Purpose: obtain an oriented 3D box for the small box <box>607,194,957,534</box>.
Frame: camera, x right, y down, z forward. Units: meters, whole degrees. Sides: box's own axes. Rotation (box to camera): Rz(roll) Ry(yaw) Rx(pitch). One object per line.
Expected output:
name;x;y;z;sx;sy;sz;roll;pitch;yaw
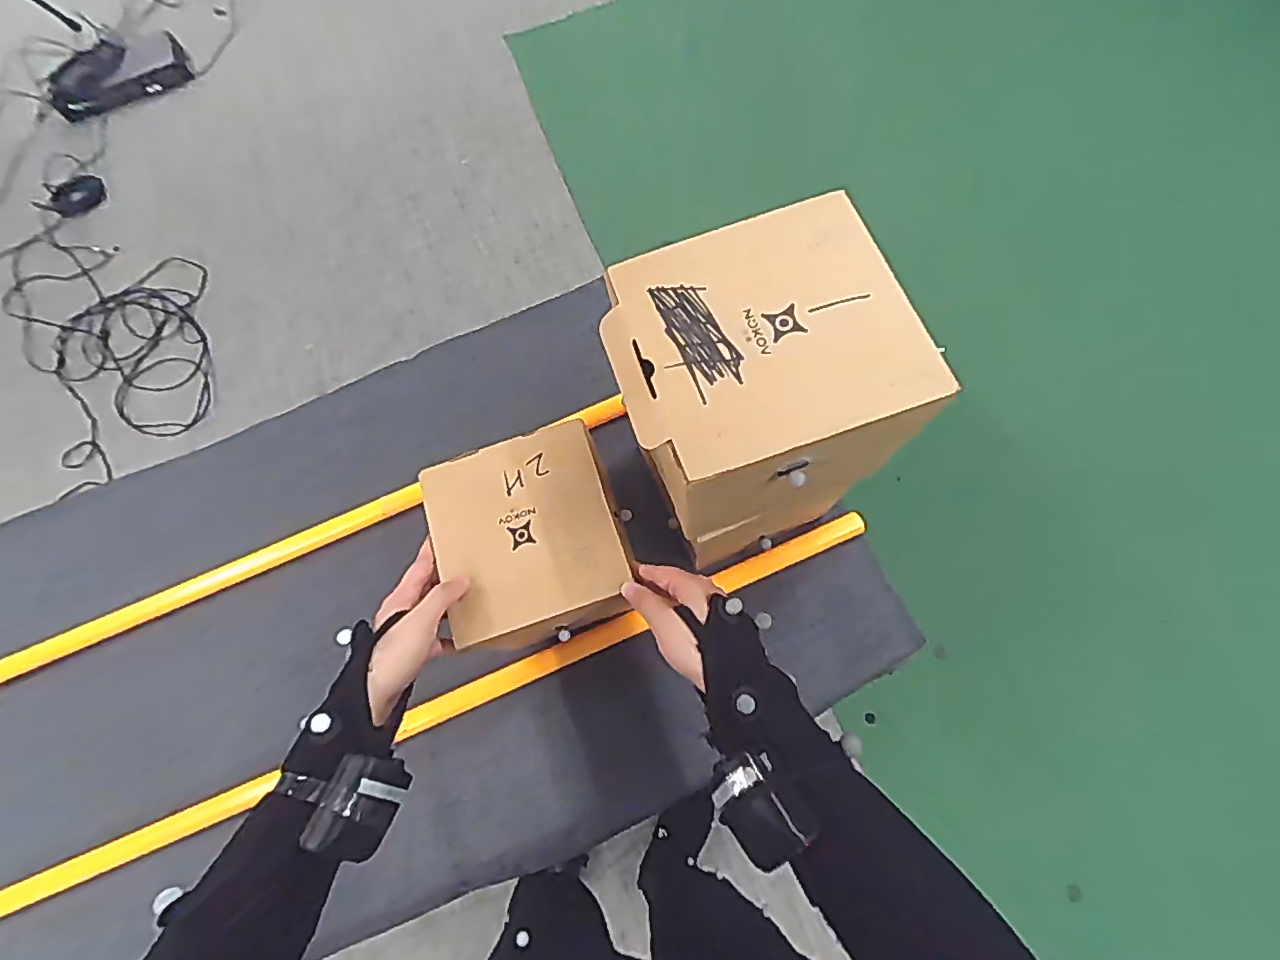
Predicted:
small box;0.090;-0.071;0.417;0.179;0.176;0.168;-19;72;-1
